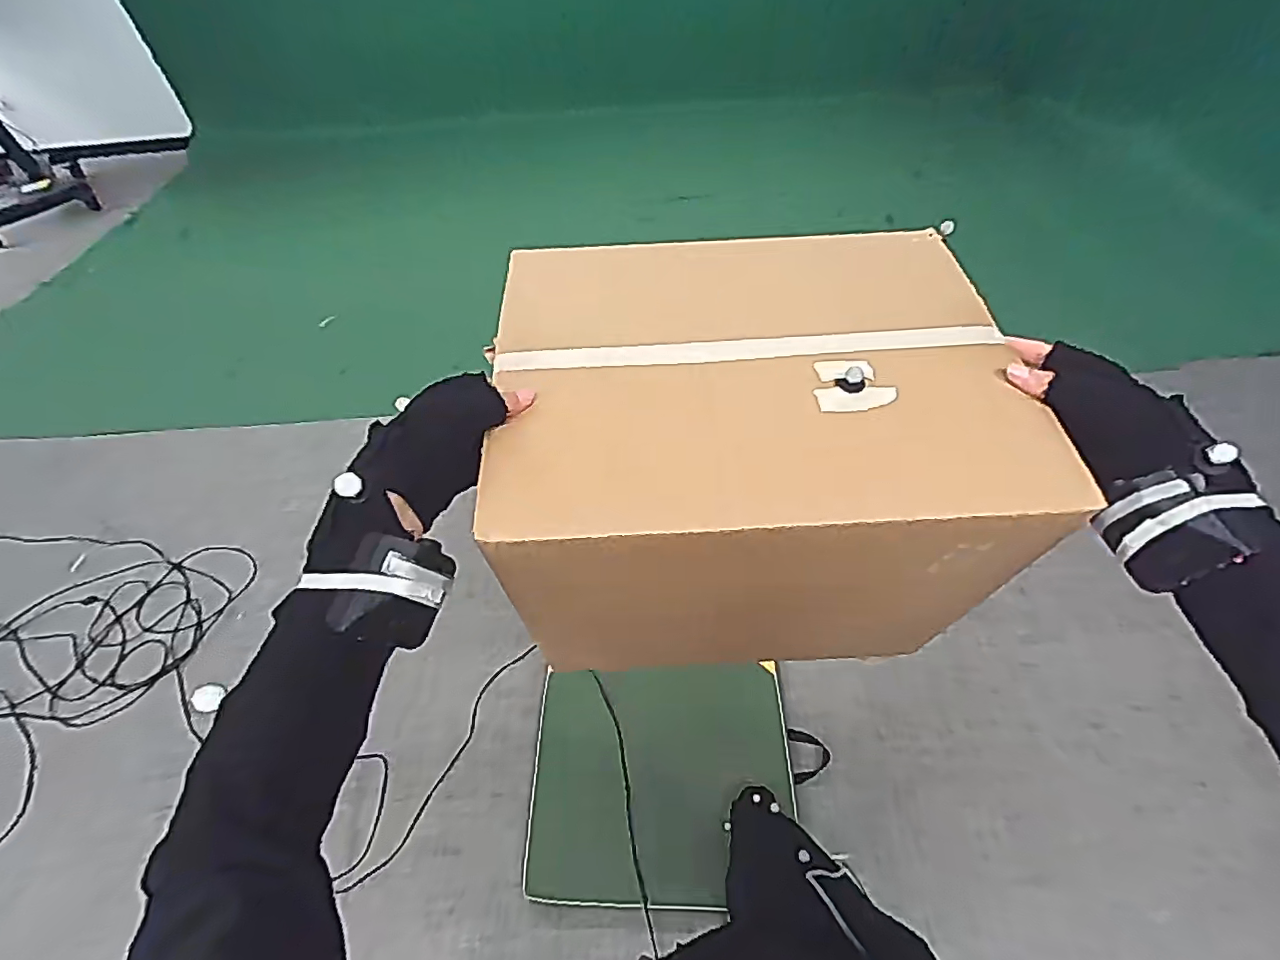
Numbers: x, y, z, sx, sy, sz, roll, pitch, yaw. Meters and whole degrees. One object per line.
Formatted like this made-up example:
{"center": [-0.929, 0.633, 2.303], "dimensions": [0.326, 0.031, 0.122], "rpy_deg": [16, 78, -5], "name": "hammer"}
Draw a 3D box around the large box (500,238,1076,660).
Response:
{"center": [0.093, -0.019, 0.568], "dimensions": [0.408, 0.320, 0.320], "rpy_deg": [-3, 57, -1], "name": "large box"}
